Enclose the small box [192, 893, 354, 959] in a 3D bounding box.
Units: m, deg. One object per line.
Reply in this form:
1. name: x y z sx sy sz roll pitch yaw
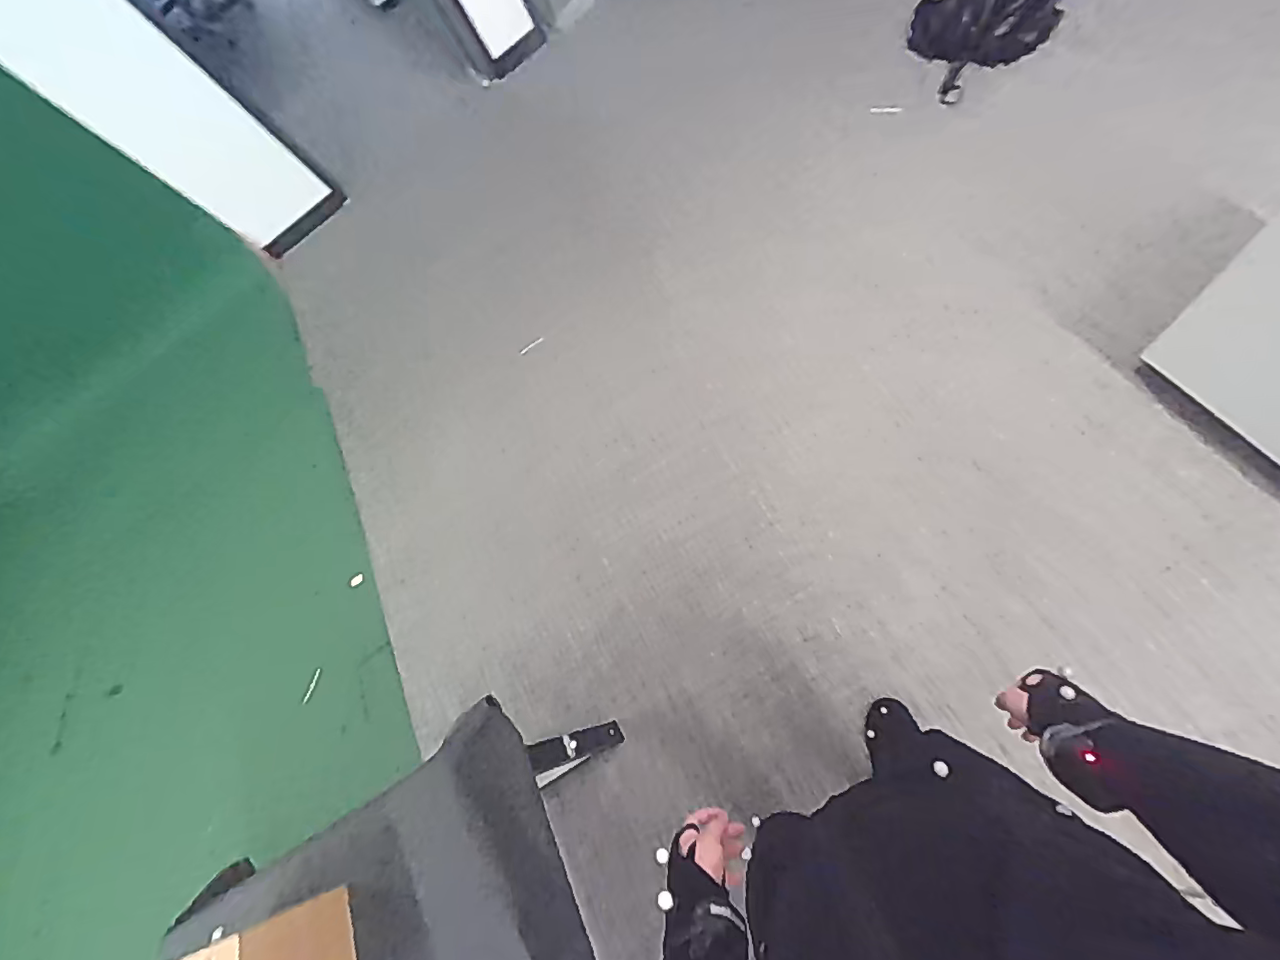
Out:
1. small box: -0.501 0.698 0.714 0.168 0.176 0.179 -28 66 9
